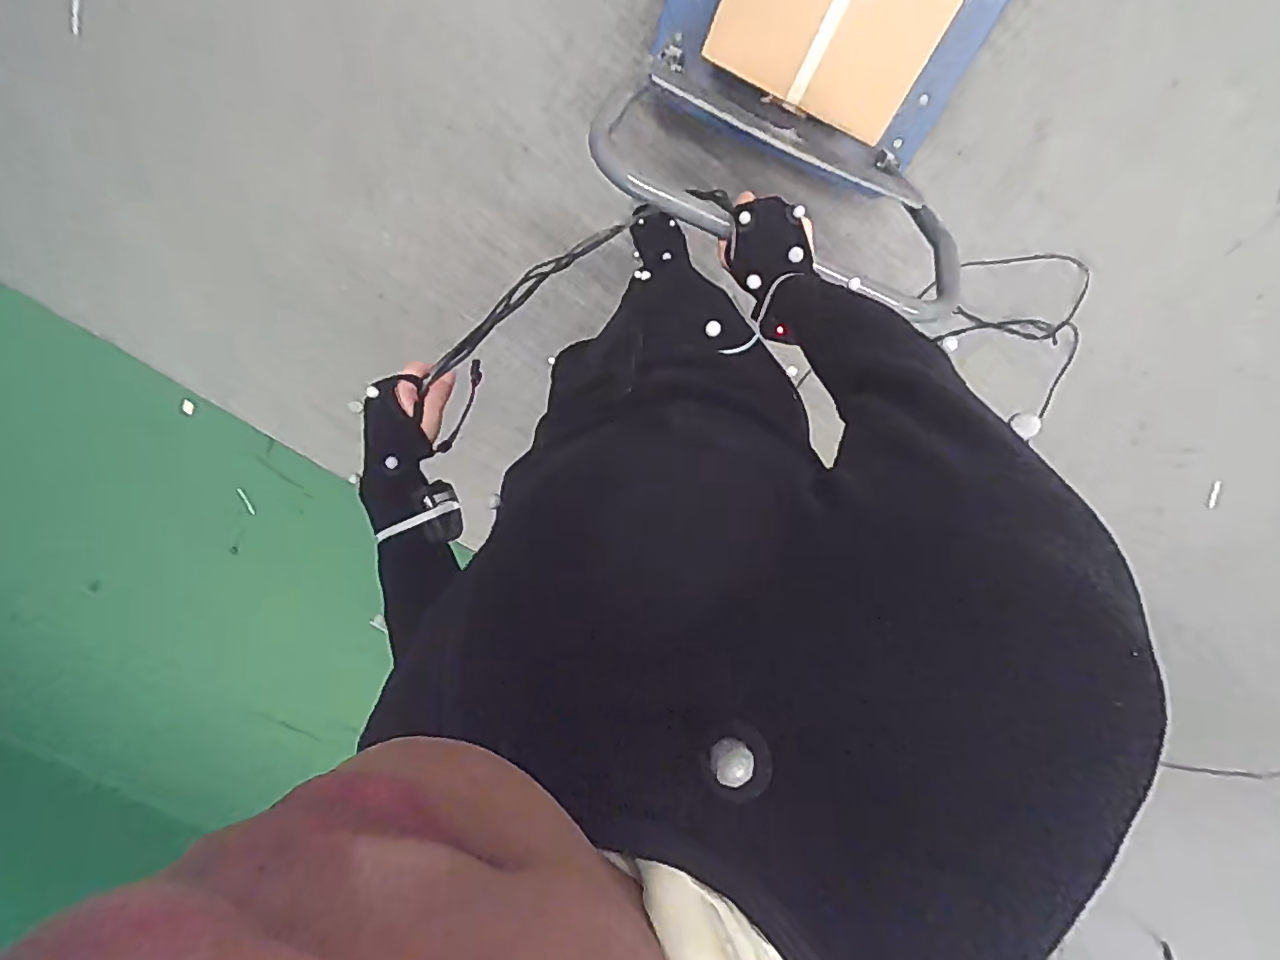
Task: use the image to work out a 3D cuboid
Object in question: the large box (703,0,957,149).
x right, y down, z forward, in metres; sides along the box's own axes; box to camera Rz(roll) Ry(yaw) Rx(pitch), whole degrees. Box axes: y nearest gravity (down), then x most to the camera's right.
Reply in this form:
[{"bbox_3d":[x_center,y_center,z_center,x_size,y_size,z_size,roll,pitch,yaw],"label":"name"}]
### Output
[{"bbox_3d":[0.331,-0.820,0.864,0.320,0.320,0.408,23,127,-7],"label":"large box"}]
